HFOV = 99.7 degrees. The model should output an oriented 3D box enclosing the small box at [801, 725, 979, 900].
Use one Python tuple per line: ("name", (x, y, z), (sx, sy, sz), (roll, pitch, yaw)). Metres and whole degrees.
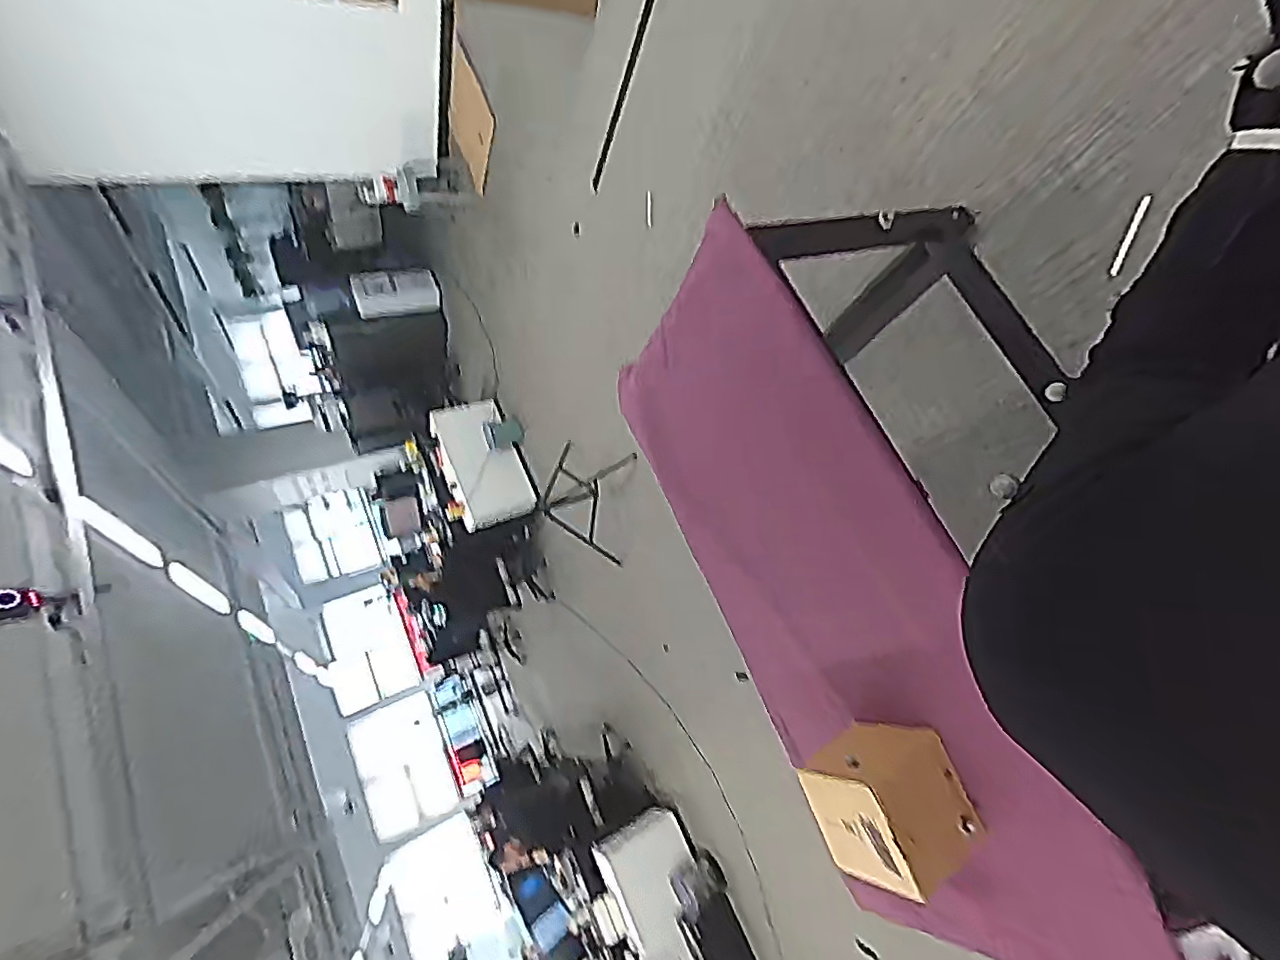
("small box", (0.405, 0.515, 0.872), (0.168, 0.176, 0.179), (67, 152, 10))
